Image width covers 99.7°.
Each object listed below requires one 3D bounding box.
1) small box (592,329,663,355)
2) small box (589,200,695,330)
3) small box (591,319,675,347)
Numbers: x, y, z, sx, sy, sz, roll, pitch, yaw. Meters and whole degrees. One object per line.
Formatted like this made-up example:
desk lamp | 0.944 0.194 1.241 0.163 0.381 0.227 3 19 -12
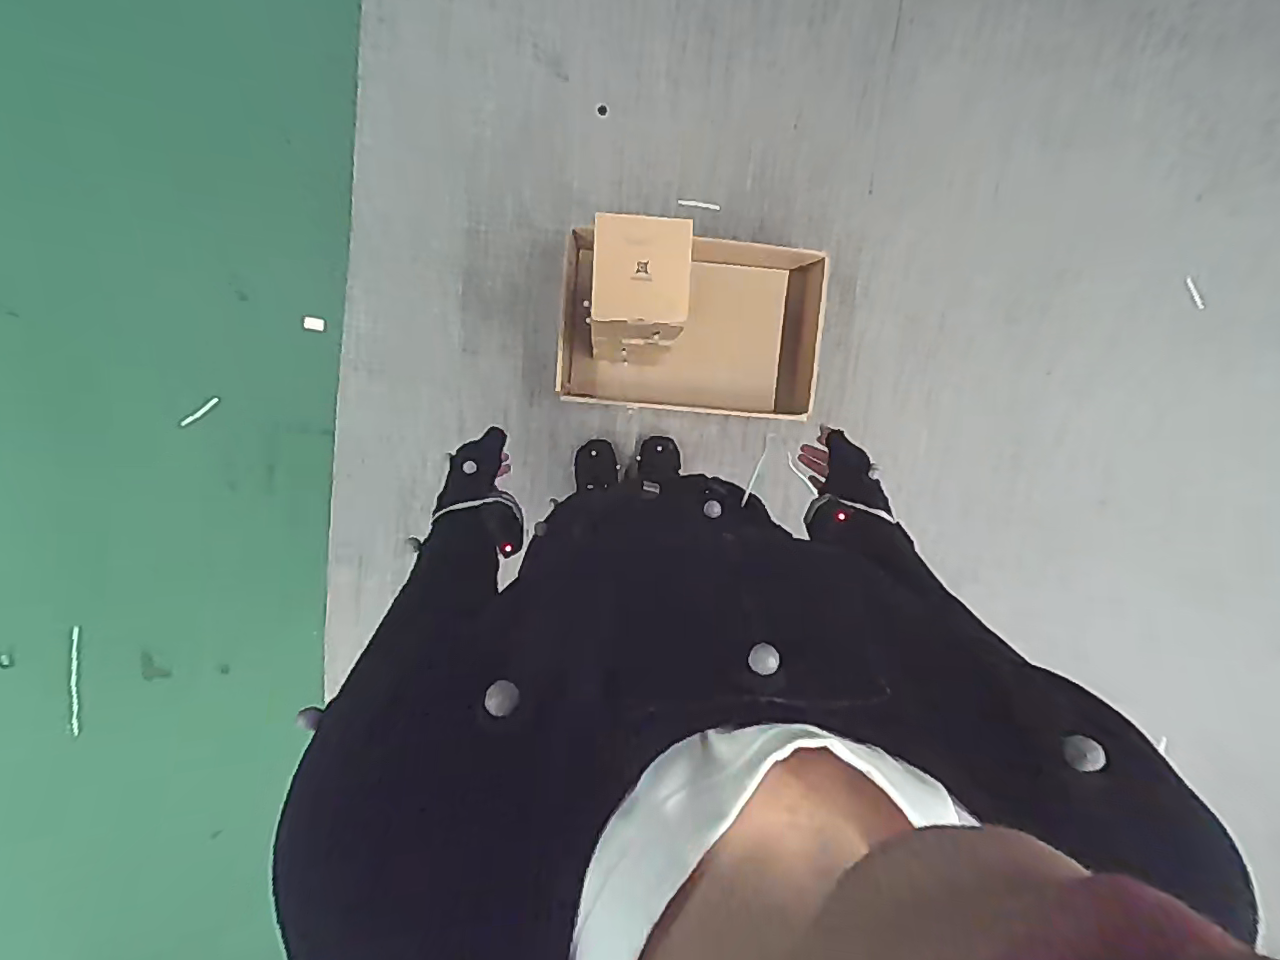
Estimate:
small box | -0.025 -0.401 1.280 0.168 0.176 0.179 6 97 -4
small box | -0.003 -0.367 0.956 0.168 0.176 0.179 3 97 -6
small box | -0.013 -0.381 1.118 0.168 0.176 0.179 4 97 -5
